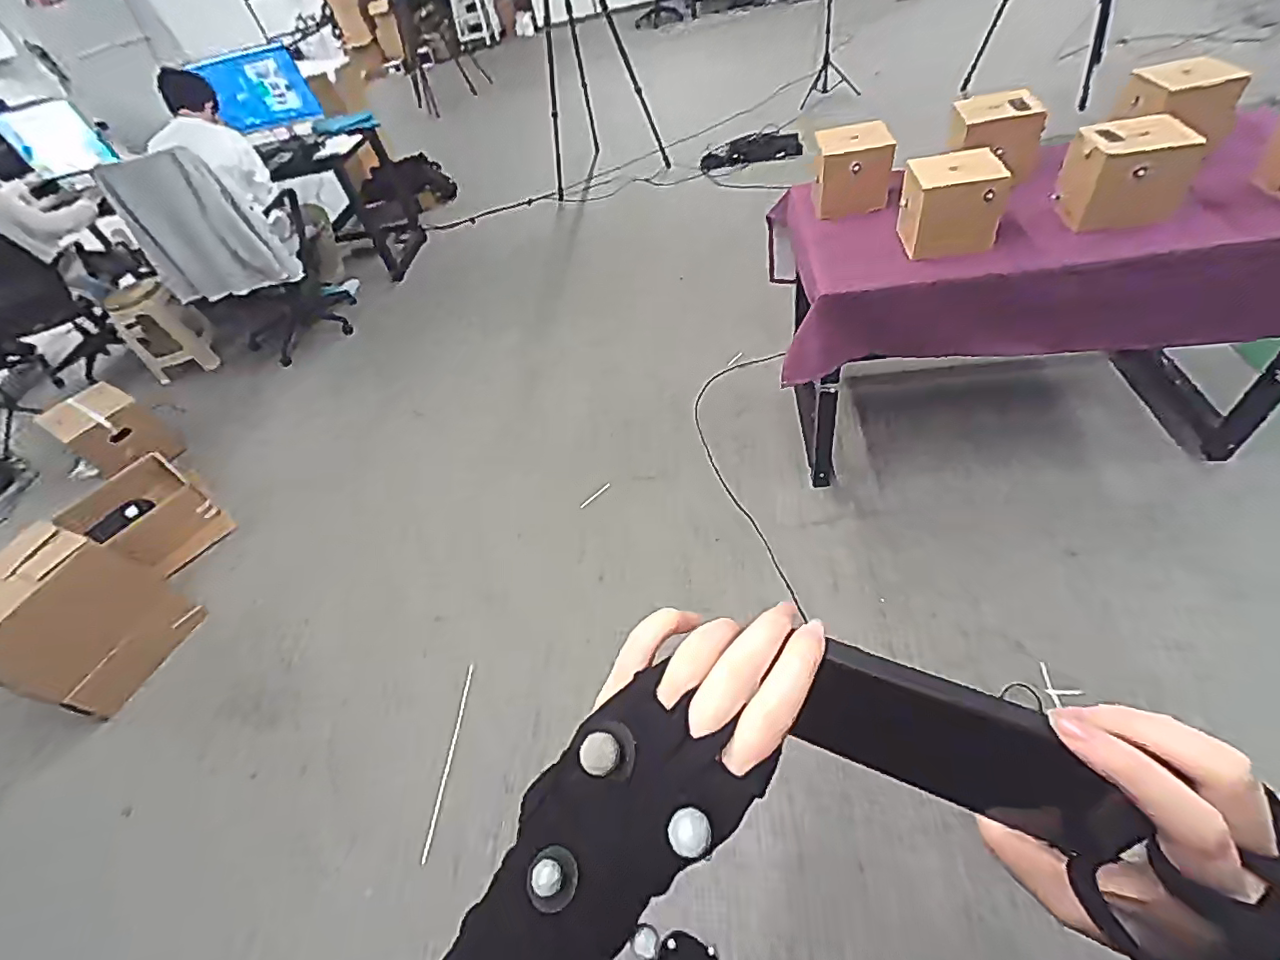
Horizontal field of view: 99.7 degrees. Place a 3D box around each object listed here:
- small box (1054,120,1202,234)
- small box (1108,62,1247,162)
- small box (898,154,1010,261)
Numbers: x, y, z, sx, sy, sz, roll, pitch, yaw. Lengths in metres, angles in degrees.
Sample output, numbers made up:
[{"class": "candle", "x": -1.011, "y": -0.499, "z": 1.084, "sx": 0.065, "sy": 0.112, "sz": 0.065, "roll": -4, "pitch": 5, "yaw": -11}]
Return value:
[{"class": "small box", "x": 1.061, "y": -0.666, "z": 1.202, "sx": 0.179, "sy": 0.176, "sz": 0.168, "roll": -1, "pitch": 50, "yaw": 12}, {"class": "small box", "x": 1.304, "y": -0.900, "z": 1.341, "sx": 0.168, "sy": 0.176, "sz": 0.179, "roll": -7, "pitch": 49, "yaw": 10}, {"class": "small box", "x": 0.715, "y": -0.628, "z": 1.259, "sx": 0.179, "sy": 0.176, "sz": 0.168, "roll": -3, "pitch": 49, "yaw": 11}]
